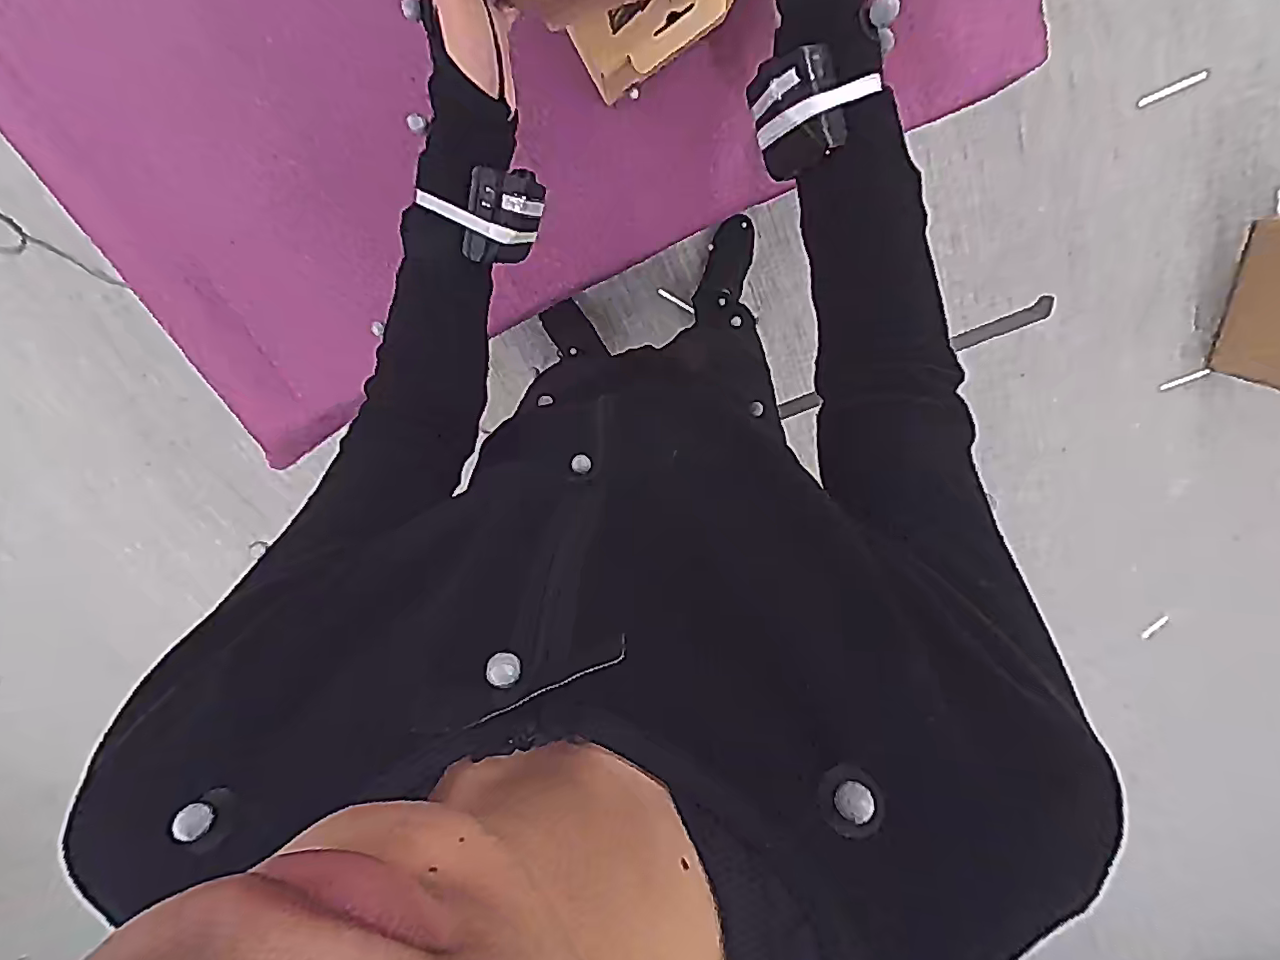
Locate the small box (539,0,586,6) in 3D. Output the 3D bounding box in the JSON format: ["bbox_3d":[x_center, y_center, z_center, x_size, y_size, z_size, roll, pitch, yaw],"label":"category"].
[{"bbox_3d":[-0.032,-0.480,0.389,0.168,0.176,0.179,-14,121,6],"label":"small box"}]

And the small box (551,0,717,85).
[{"bbox_3d":[-0.021,-0.541,0.548,0.168,0.176,0.179,-29,113,12],"label":"small box"}]
